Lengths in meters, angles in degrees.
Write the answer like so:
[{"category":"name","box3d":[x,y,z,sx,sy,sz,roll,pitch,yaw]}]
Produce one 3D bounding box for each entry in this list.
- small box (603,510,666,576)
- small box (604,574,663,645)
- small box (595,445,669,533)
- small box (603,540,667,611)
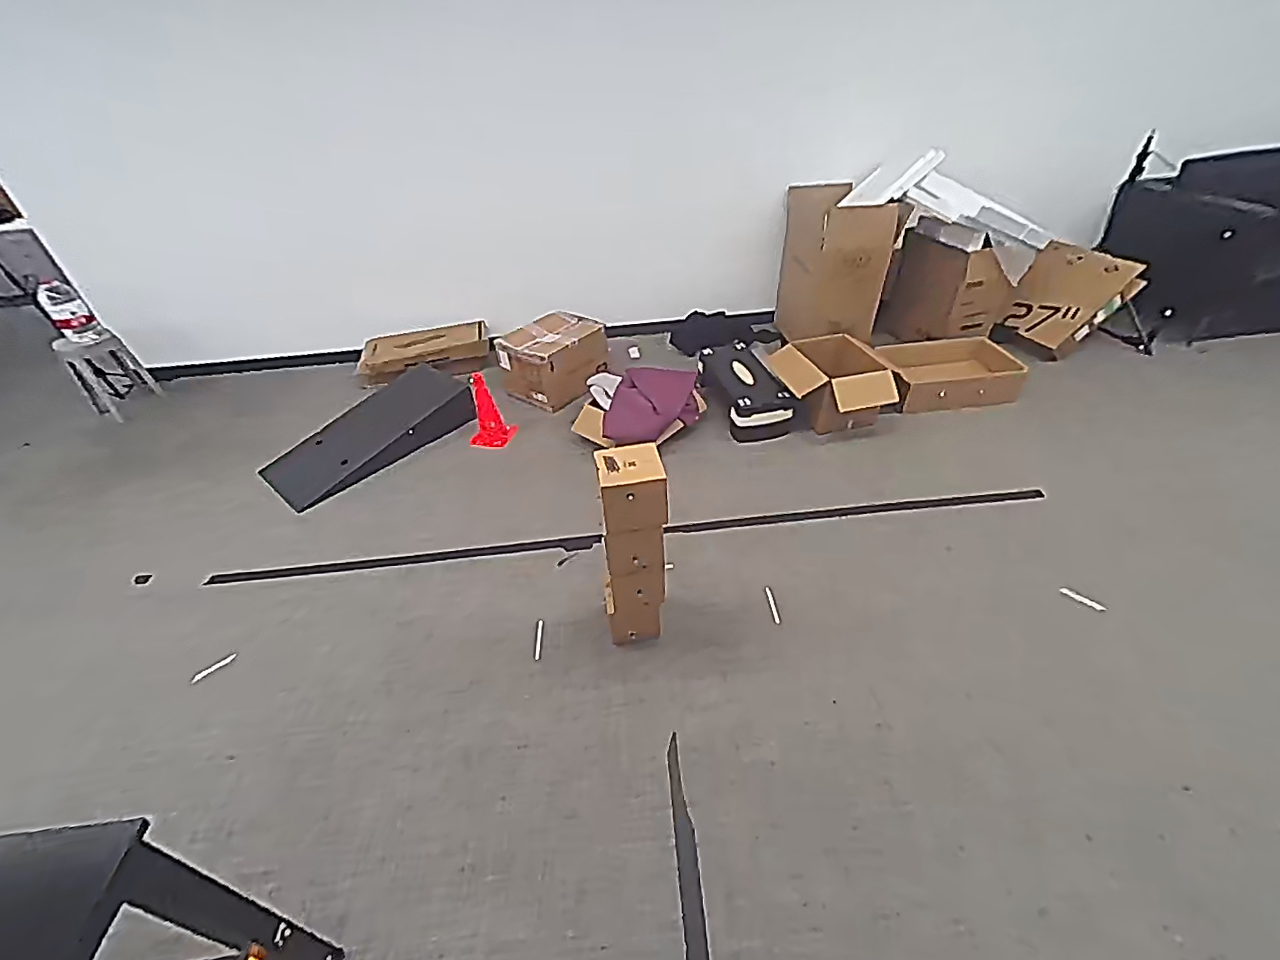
[{"category":"small box","box3d":[-0.019,0.157,1.591,0.168,0.176,0.179,-8,39,-2]},{"category":"small box","box3d":[-0.022,0.418,1.794,0.168,0.176,0.179,-10,40,-5]},{"category":"small box","box3d":[-0.021,0.028,1.490,0.179,0.176,0.168,-9,39,-6]},{"category":"small box","box3d":[-0.015,0.290,1.691,0.168,0.176,0.179,-11,39,-6]}]
